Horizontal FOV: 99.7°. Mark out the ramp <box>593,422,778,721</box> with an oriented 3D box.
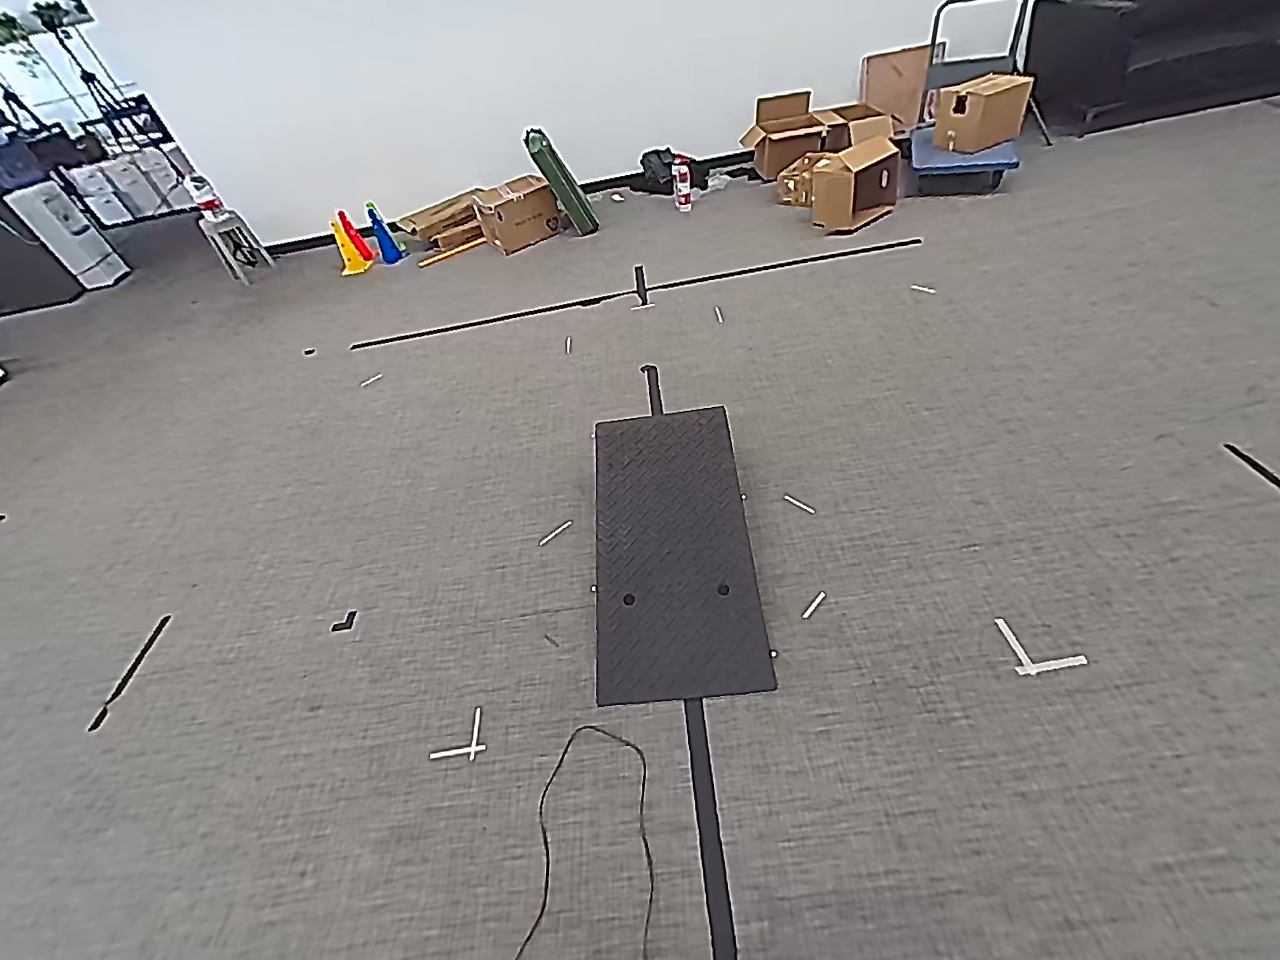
[{"bbox_3d":[0.100,0.224,1.752,0.509,0.206,0.991,-9,44,3],"label":"ramp"}]
